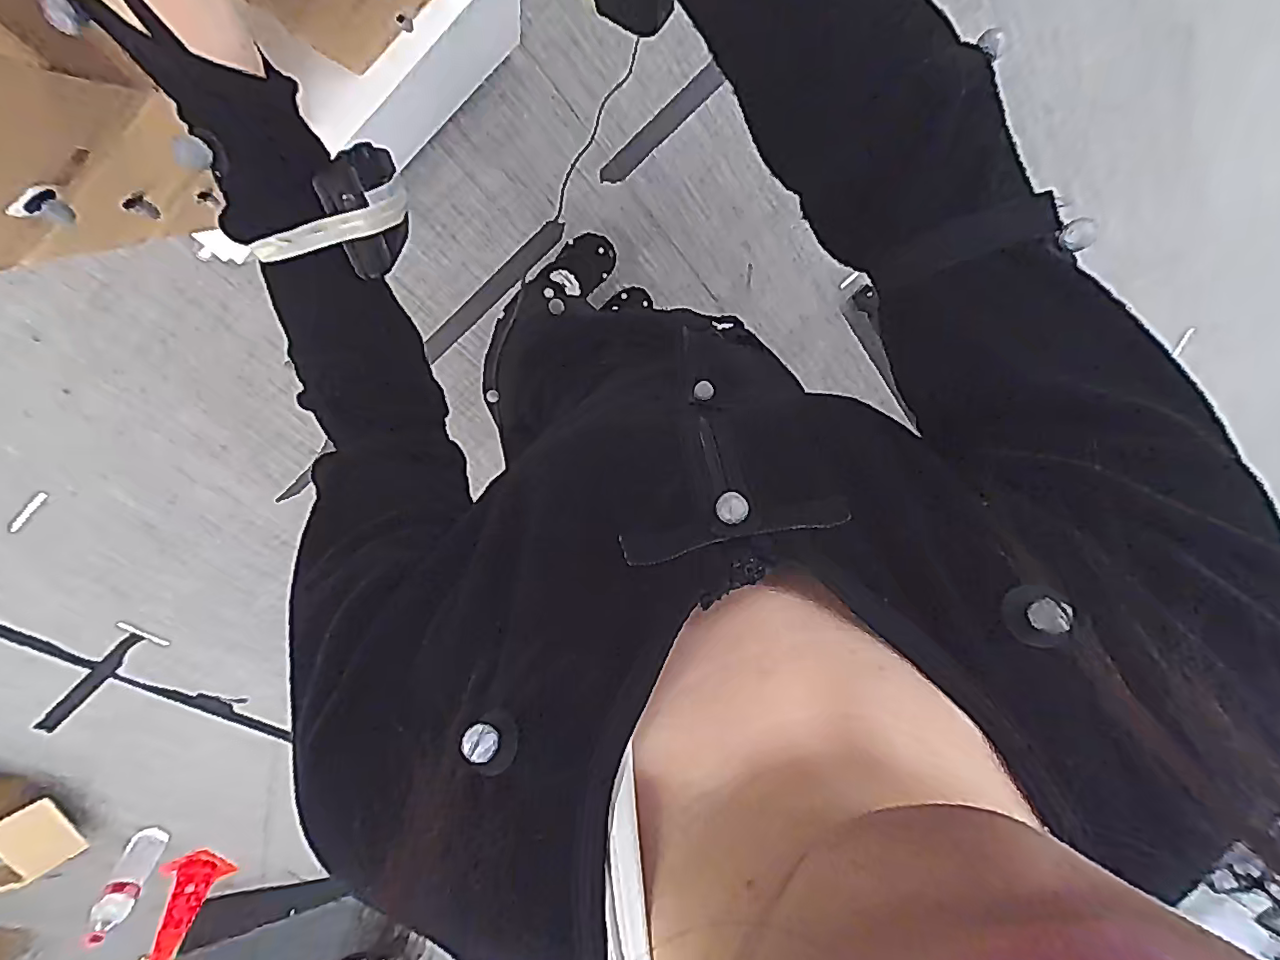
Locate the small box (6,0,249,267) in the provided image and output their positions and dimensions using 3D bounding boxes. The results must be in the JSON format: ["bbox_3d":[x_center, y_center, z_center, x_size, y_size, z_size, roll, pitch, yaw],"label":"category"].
[{"bbox_3d":[-0.443,-0.293,0.398,0.168,0.176,0.179,-41,119,11],"label":"small box"}]

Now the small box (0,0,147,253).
[{"bbox_3d":[-0.413,-0.216,0.258,0.168,0.176,0.179,-40,120,12],"label":"small box"}]

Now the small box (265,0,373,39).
[{"bbox_3d":[-0.250,-0.443,0.353,0.168,0.176,0.179,-38,121,10],"label":"small box"}]

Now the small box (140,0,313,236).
[{"bbox_3d":[-0.476,-0.372,0.535,0.168,0.176,0.179,-39,119,11],"label":"small box"}]
